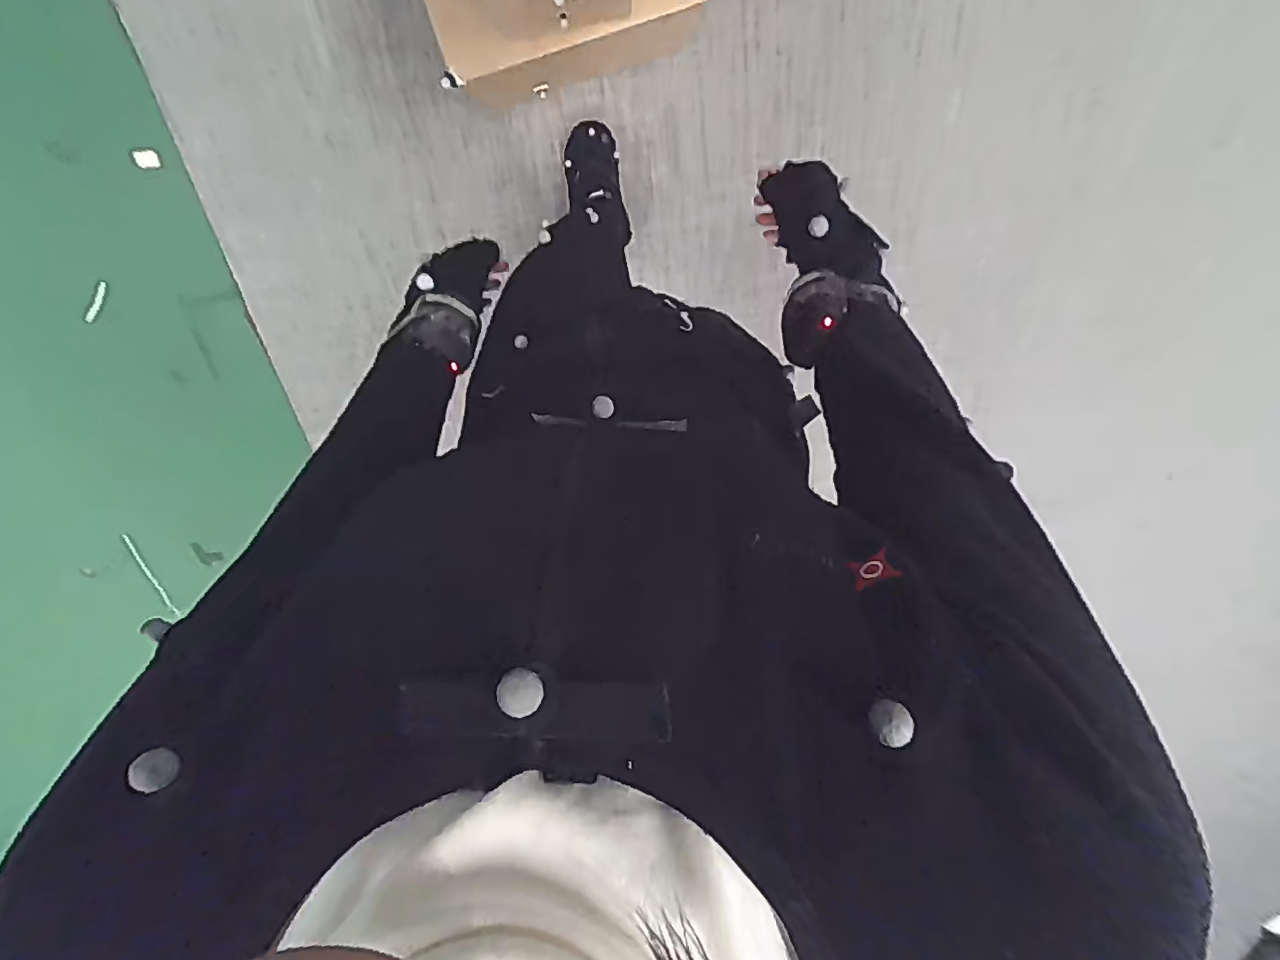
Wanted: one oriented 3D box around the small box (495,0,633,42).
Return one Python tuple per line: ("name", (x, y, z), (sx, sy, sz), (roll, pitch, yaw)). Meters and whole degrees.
("small box", (-0.105, -0.698, 0.700), (0.179, 0.176, 0.168), (-7, 119, 4))
